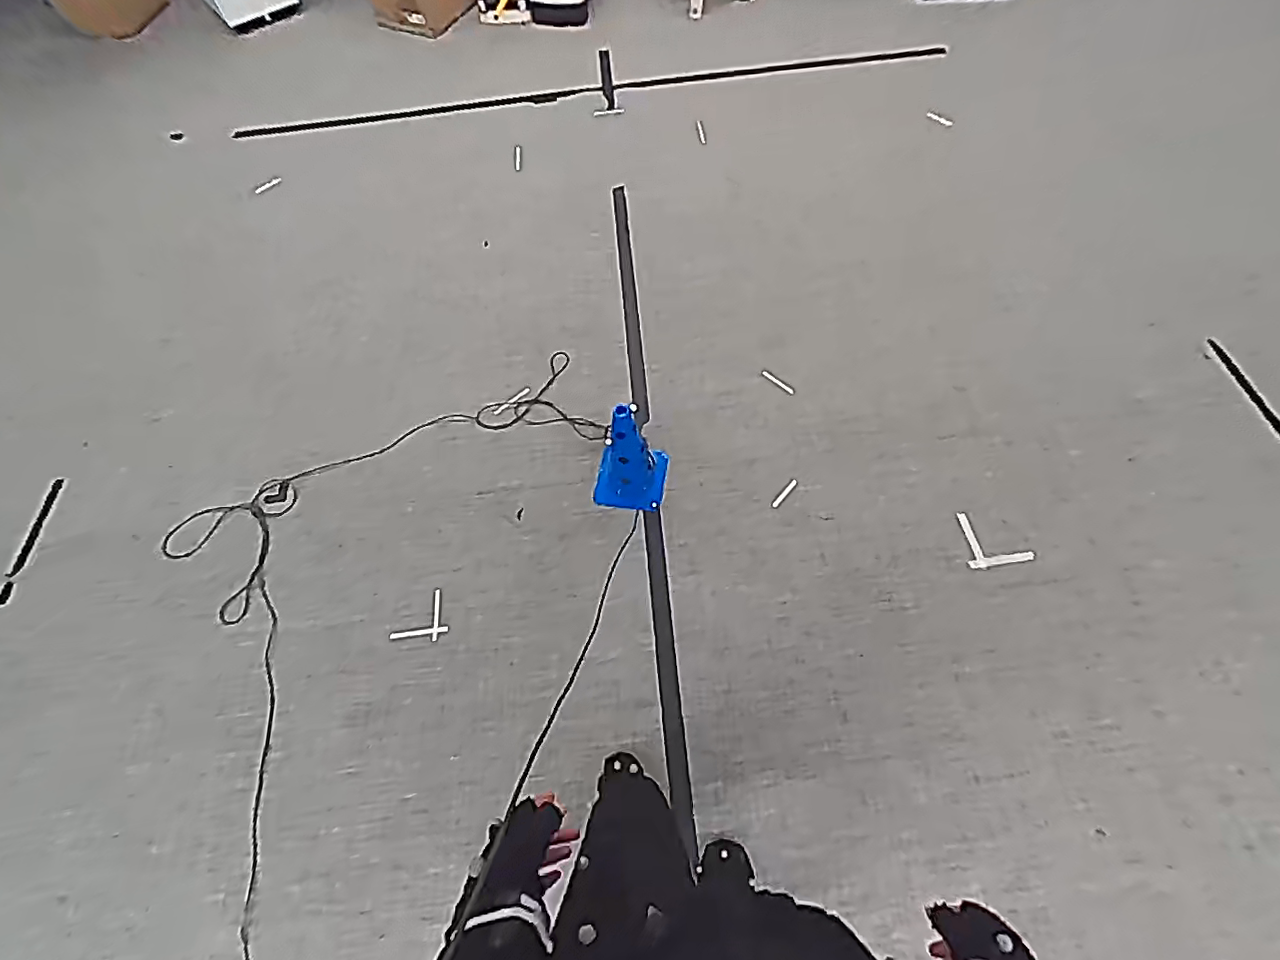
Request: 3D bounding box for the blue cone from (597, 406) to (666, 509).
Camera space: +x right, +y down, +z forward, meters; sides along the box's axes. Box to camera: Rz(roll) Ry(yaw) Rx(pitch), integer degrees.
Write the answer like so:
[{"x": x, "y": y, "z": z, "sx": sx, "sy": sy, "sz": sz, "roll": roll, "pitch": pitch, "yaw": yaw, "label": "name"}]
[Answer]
[{"x": -0.031, "y": -0.080, "z": 1.458, "sx": 0.192, "sy": 0.380, "sz": 0.193, "roll": 9, "pitch": 64, "yaw": 6, "label": "blue cone"}]
